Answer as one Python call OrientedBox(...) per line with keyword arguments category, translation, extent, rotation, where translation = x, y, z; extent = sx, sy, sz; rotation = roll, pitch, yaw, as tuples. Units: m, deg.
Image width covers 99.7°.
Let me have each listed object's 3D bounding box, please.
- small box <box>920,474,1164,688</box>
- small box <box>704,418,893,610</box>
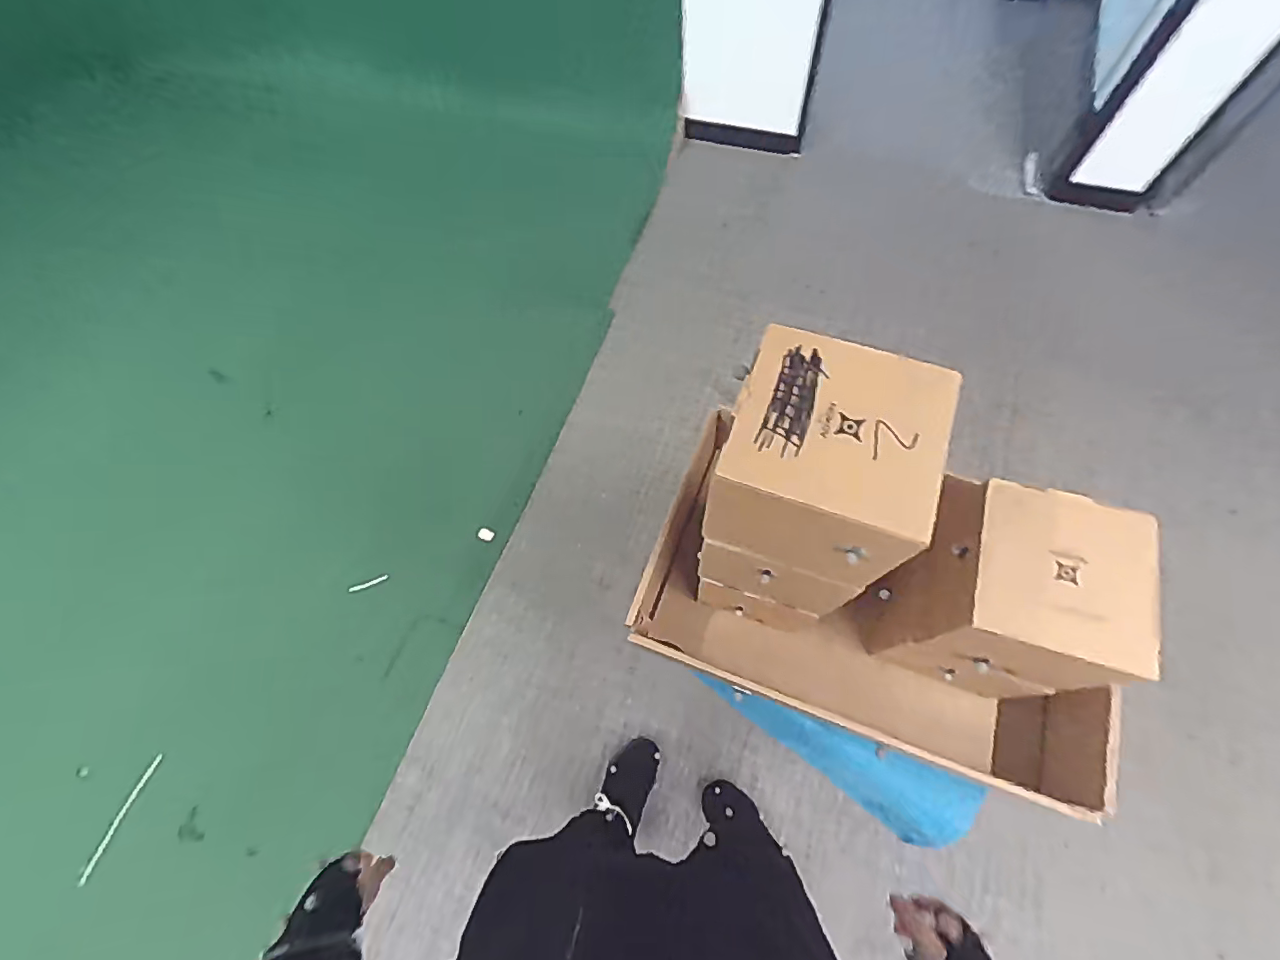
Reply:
OrientedBox(category="small box", translation=(0.446, 0.123, 0.623), extent=(0.168, 0.176, 0.179), rotation=(16, 68, 13))
OrientedBox(category="small box", translation=(0.185, 0.051, 0.676), extent=(0.179, 0.176, 0.168), rotation=(17, 69, 10))
